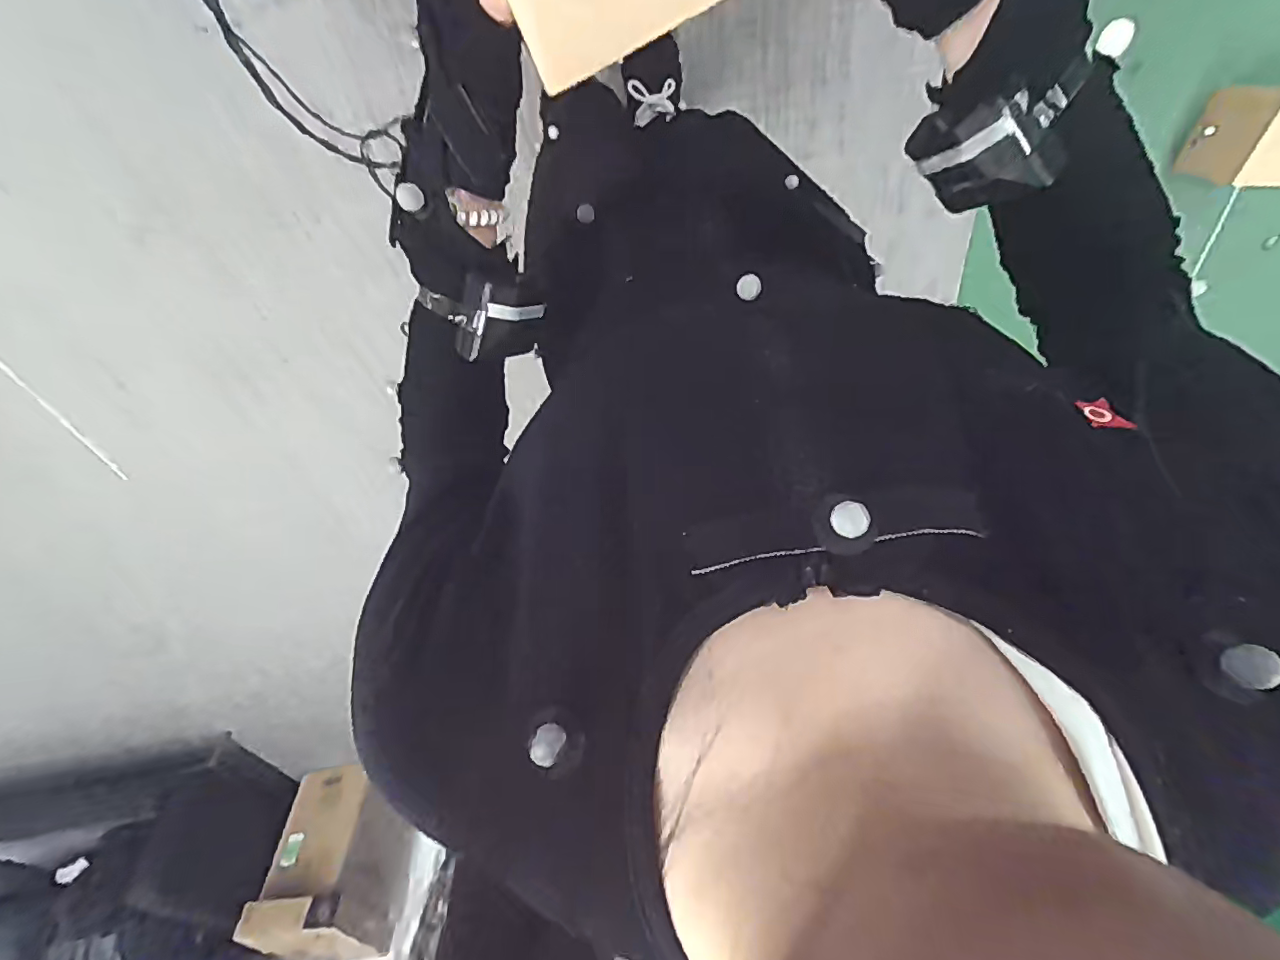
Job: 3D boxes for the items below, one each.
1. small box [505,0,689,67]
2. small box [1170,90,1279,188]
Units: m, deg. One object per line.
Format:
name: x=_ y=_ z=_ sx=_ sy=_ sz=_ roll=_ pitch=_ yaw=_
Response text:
small box: x=-0.011 y=-0.320 z=0.227 sx=0.179 sy=0.176 sz=0.168 roll=-25 pitch=140 yaw=5
small box: x=1.365 y=-0.757 z=1.197 sx=0.179 sy=0.176 sz=0.168 roll=-1 pitch=129 yaw=-3
